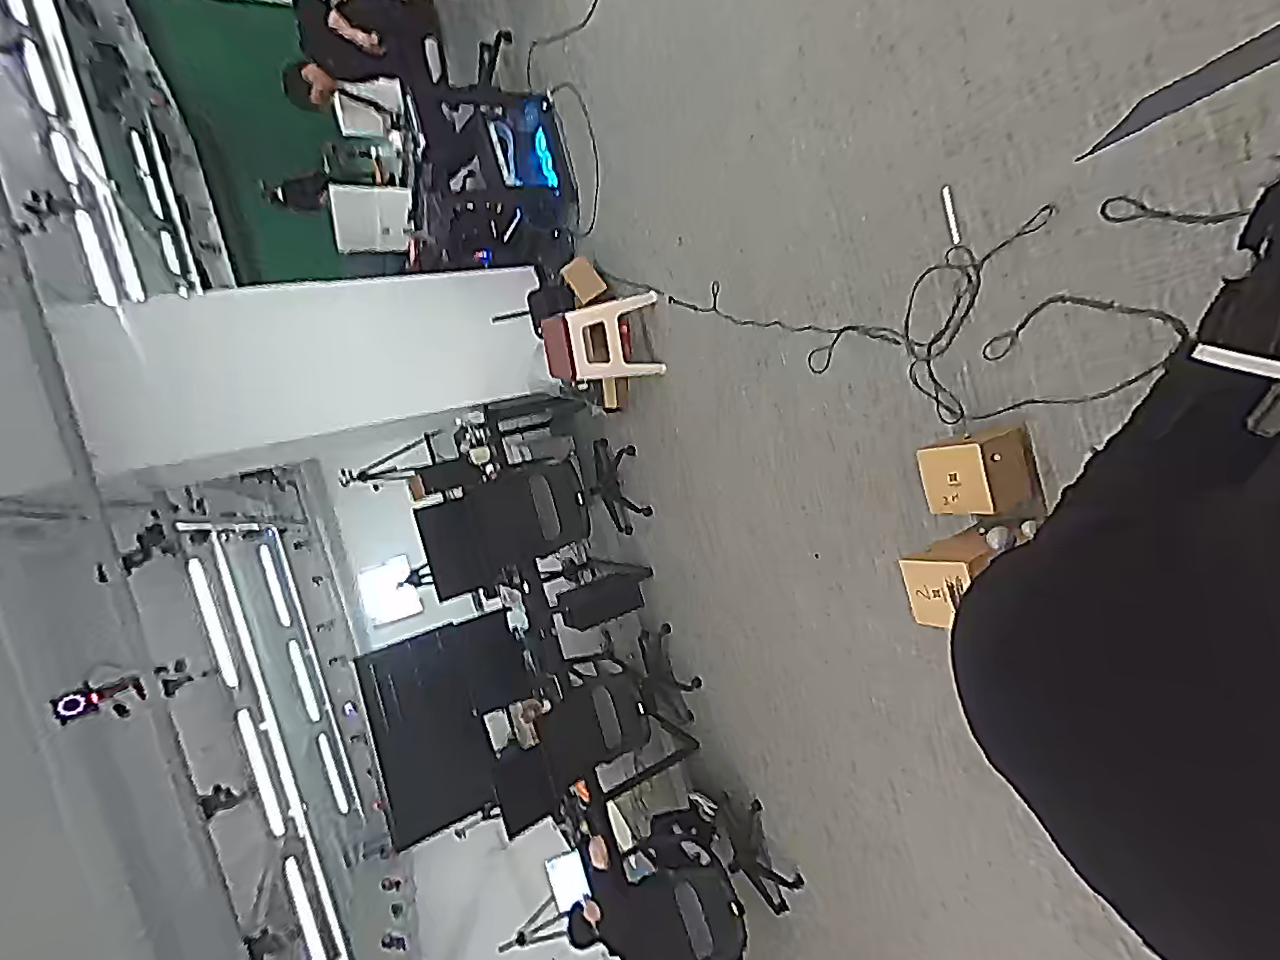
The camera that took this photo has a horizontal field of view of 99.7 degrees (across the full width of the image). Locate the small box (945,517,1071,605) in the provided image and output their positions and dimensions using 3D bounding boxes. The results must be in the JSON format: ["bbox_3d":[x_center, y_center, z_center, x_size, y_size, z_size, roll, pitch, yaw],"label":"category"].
[{"bbox_3d":[0.911,0.200,1.343,0.179,0.176,0.168,-25,84,64],"label":"small box"}]

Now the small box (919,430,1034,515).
[{"bbox_3d":[0.837,-0.021,1.344,0.168,0.176,0.179,-5,101,64],"label":"small box"}]
